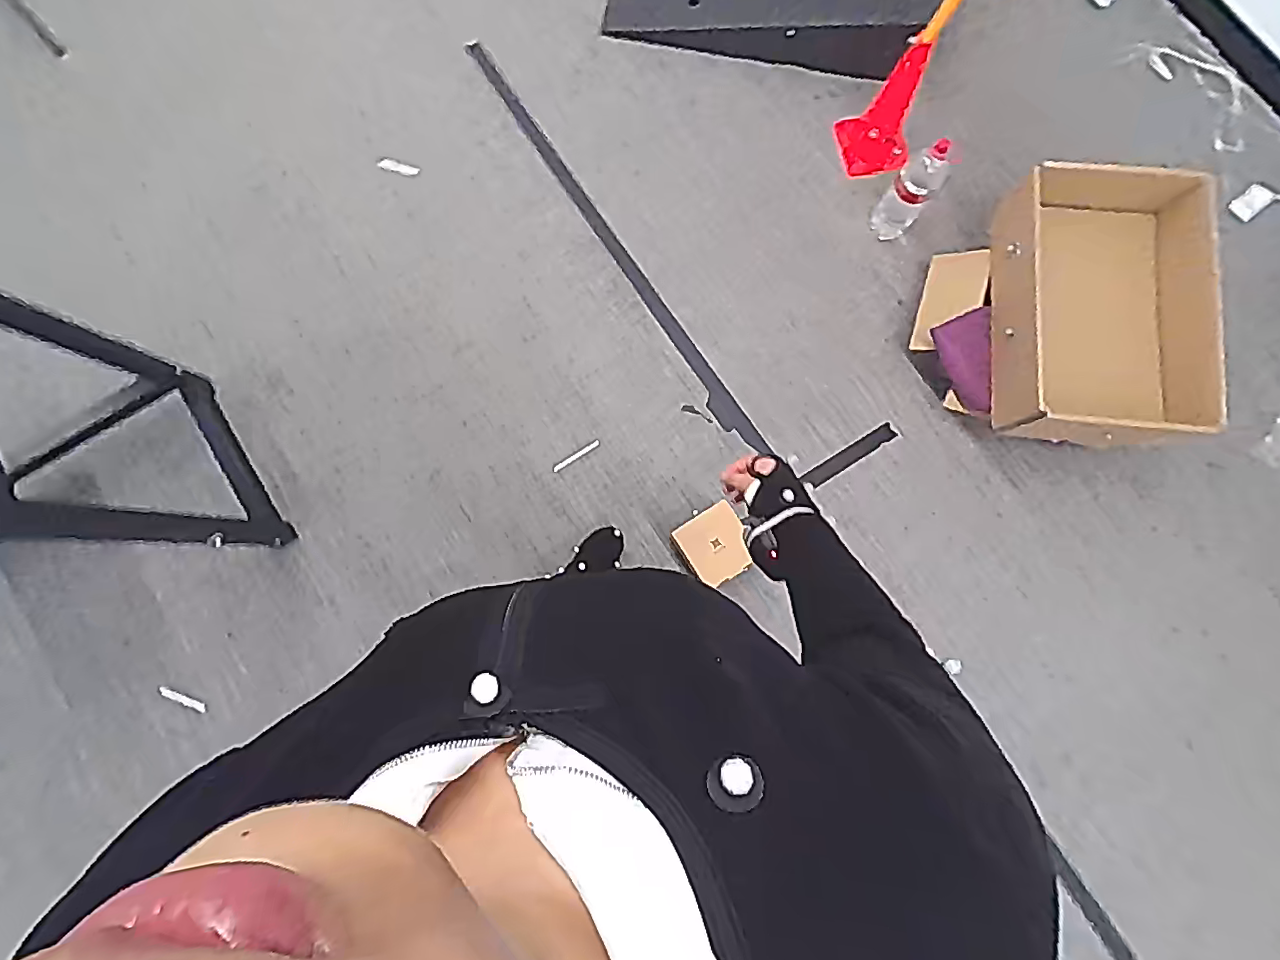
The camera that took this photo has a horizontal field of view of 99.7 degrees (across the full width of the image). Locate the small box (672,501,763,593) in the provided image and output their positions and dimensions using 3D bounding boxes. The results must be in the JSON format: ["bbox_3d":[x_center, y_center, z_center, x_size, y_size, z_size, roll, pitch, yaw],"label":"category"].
[{"bbox_3d":[0.197,0.176,1.424,0.168,0.176,0.179,-33,81,-4],"label":"small box"}]
